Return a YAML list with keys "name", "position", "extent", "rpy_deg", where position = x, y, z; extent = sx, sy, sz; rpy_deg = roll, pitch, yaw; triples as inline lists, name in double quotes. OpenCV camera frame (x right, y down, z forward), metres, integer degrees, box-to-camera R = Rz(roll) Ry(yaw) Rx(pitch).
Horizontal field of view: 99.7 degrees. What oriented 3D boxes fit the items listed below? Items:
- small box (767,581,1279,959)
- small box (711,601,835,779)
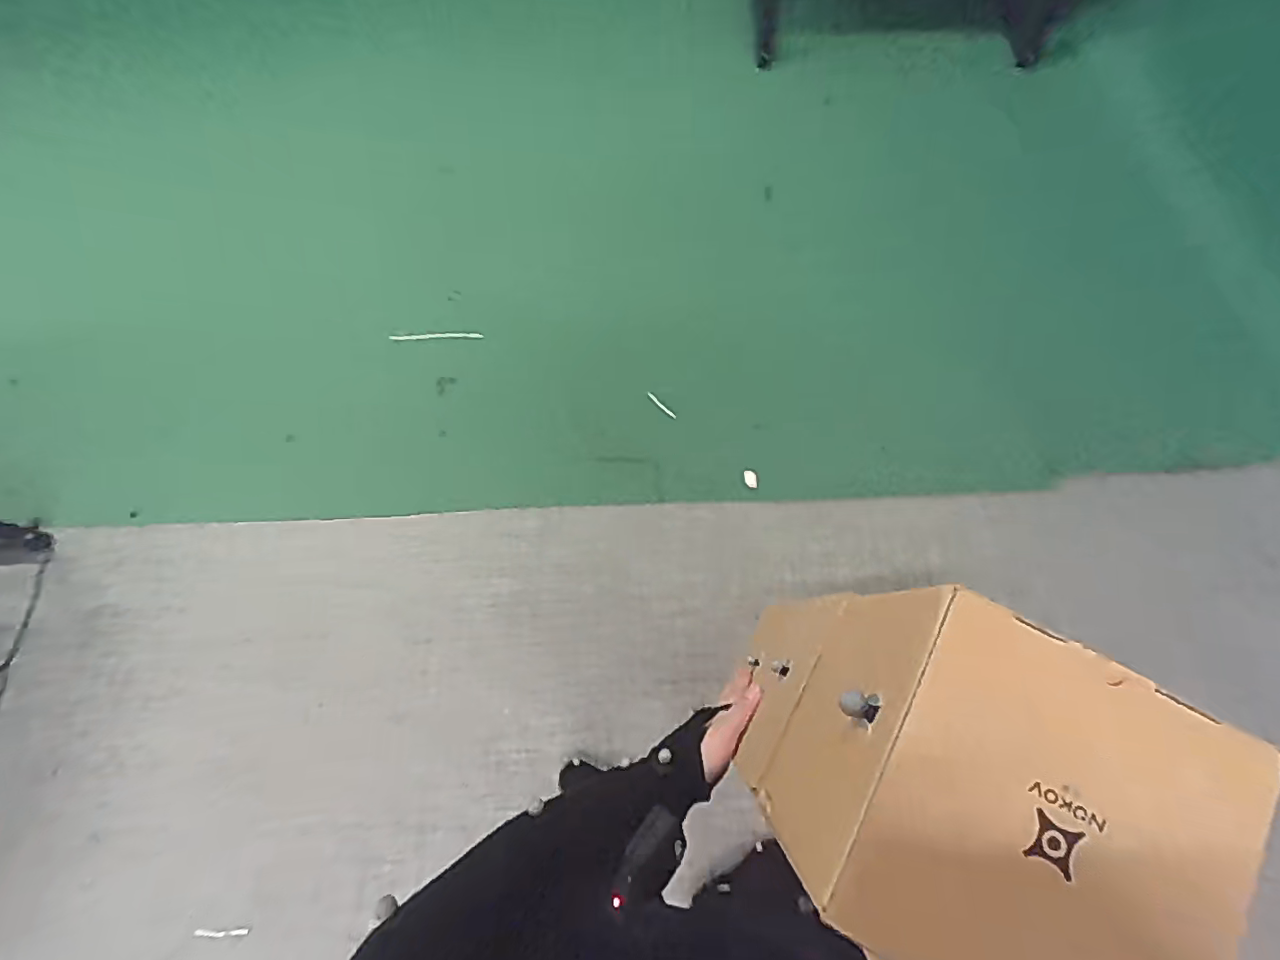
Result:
- name: "small box"
  position: [0.190, 0.182, 0.320]
  extent: [0.168, 0.176, 0.179]
  rpy_deg: [27, 76, 8]
- name: "small box"
  position: [0.195, 0.262, 0.635]
  extent: [0.168, 0.176, 0.179]
  rpy_deg: [29, 77, 9]
